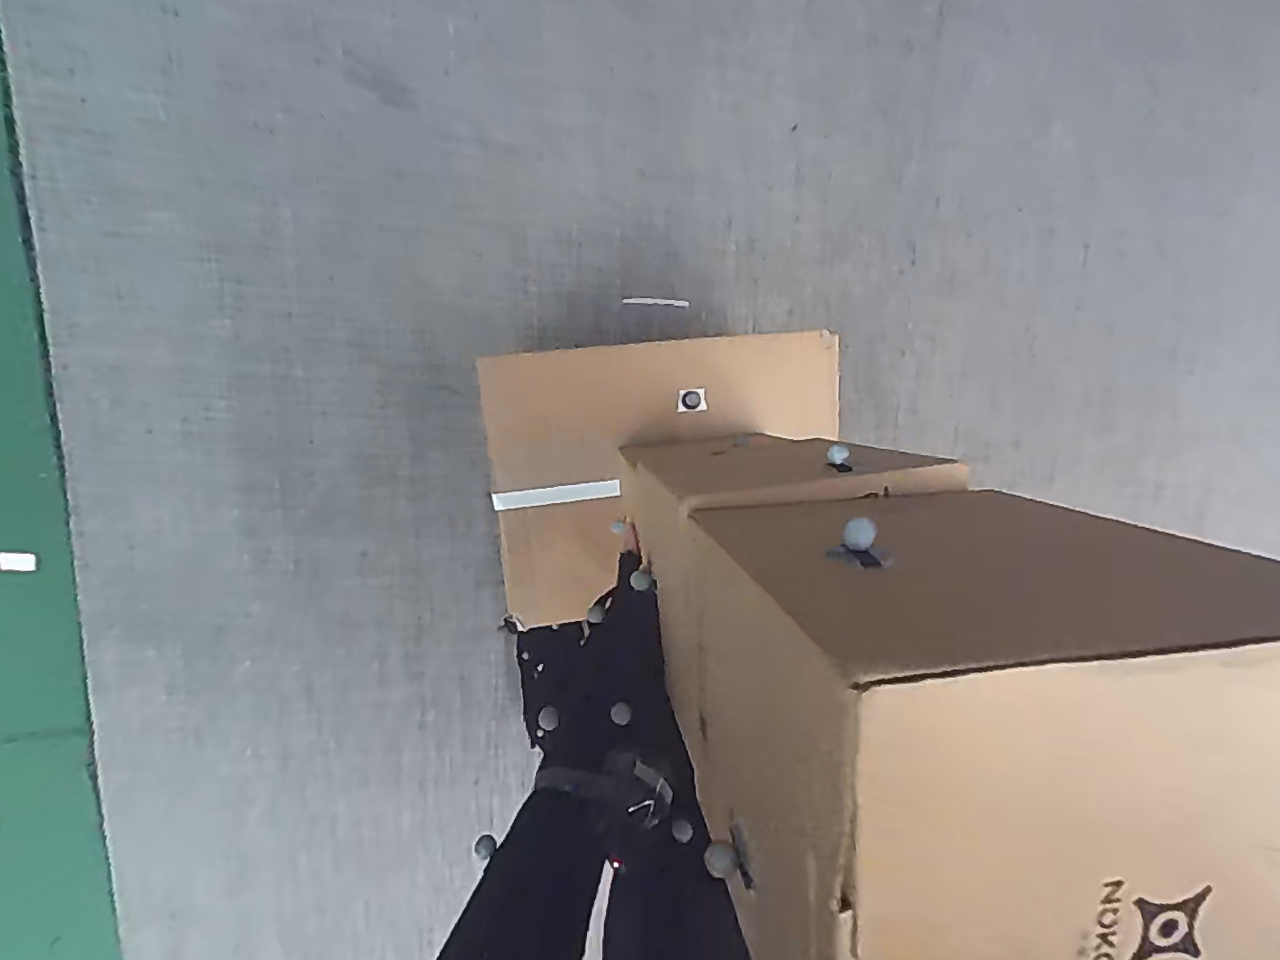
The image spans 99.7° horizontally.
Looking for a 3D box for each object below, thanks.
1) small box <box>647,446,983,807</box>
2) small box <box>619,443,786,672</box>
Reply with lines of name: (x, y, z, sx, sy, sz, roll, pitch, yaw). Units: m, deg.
small box: (0.100, 0.078, 0.374, 0.168, 0.176, 0.179, -7, 99, -5)
small box: (0.083, 0.060, 0.536, 0.179, 0.176, 0.168, -9, 100, -6)
